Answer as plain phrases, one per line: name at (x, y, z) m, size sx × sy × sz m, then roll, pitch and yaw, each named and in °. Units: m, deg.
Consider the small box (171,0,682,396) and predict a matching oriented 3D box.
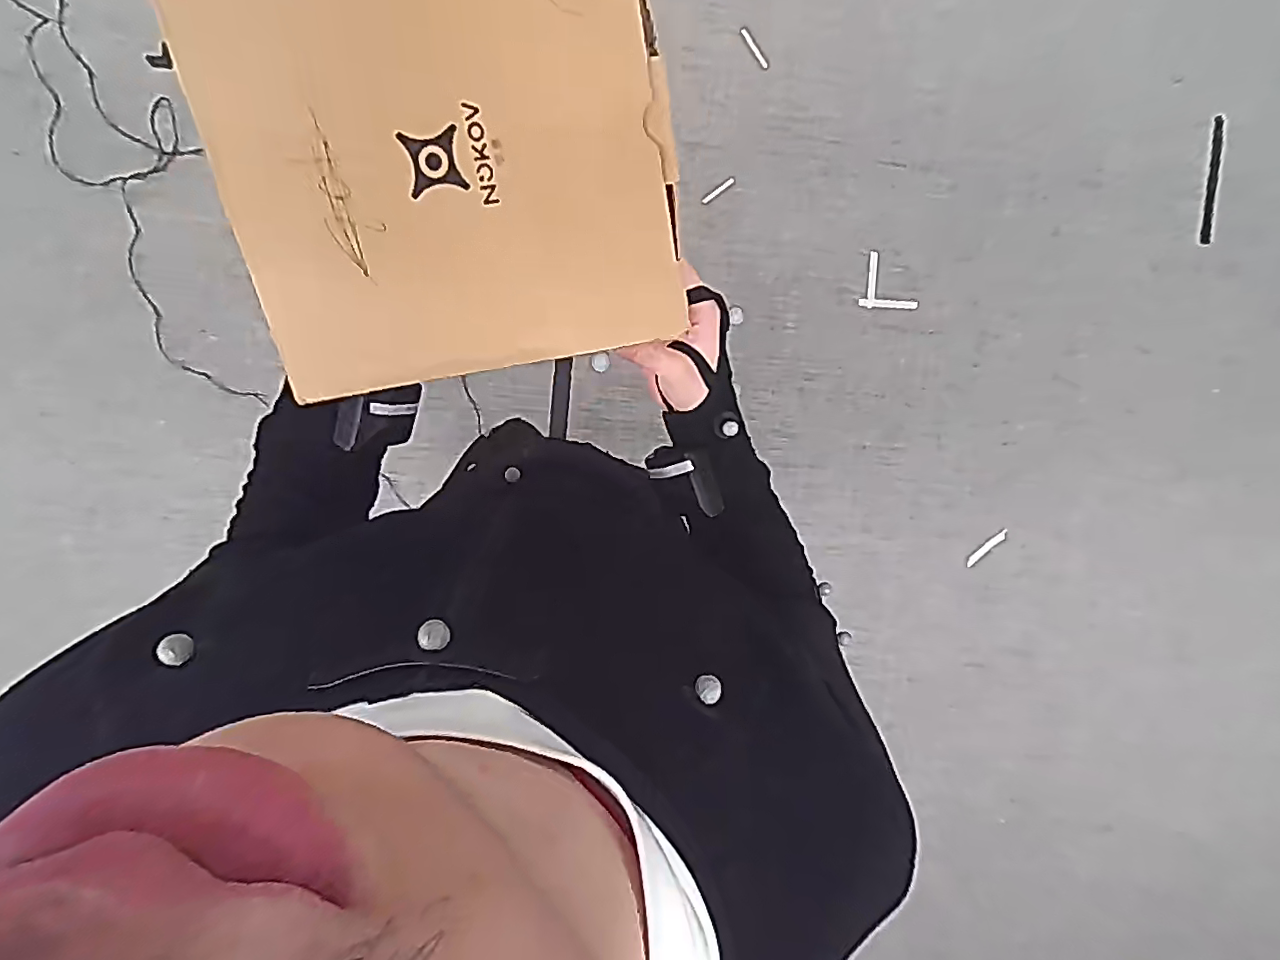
small box at (-0.083, -0.153, 0.301) m, size 0.179 × 0.176 × 0.168 m, roll -11°, pitch 107°, yaw 0°
